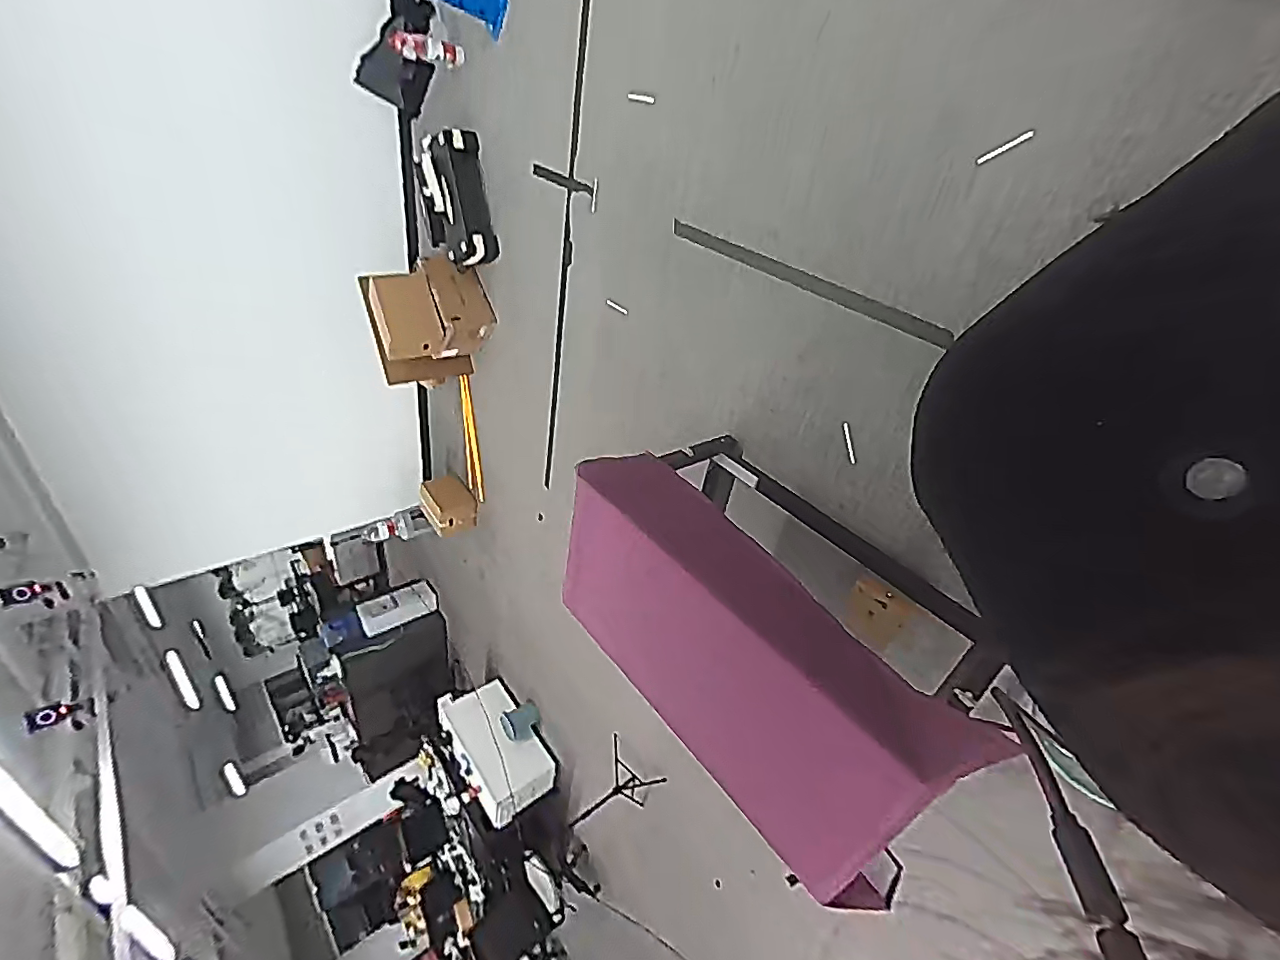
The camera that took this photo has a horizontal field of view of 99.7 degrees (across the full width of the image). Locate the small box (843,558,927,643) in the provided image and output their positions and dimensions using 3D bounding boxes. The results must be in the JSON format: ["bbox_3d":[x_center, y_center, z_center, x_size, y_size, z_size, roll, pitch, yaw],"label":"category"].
[{"bbox_3d":[0.805,0.390,1.772,0.168,0.176,0.179,38,134,35],"label":"small box"}]
